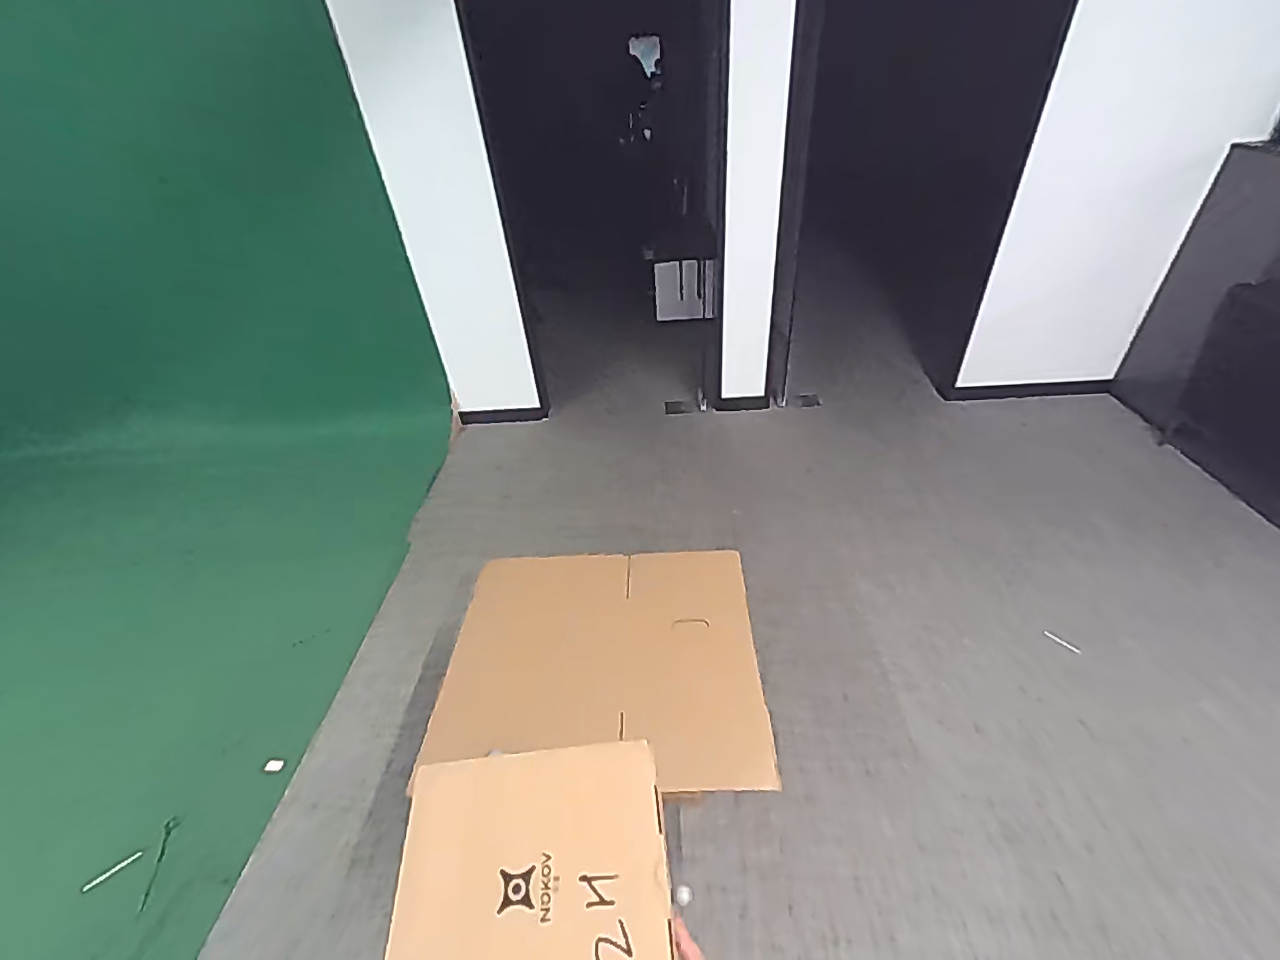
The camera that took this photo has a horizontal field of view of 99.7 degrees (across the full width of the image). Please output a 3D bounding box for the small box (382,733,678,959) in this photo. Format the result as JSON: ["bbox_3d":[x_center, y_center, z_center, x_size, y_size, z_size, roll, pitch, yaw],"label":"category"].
[{"bbox_3d":[-0.066,0.309,0.406,0.179,0.176,0.168,-6,48,0],"label":"small box"}]
